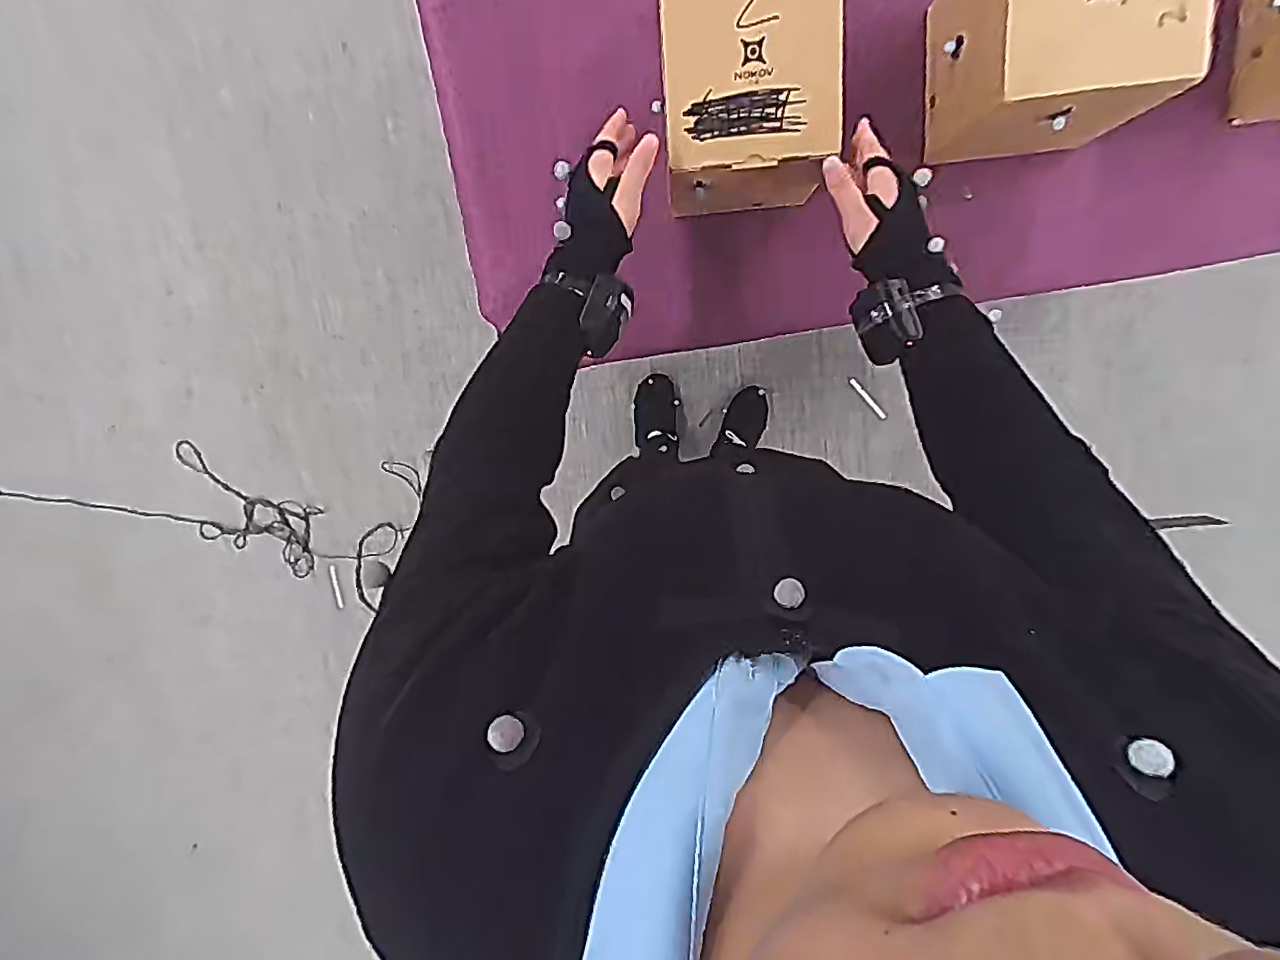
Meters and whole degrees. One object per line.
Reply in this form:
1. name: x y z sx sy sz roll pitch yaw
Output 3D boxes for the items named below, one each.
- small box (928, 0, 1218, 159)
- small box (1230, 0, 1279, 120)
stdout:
1. small box: 0.416 -0.447 0.547 0.179 0.176 0.168 -4 102 4
2. small box: 0.749 -0.477 0.517 0.179 0.176 0.168 -3 101 6
